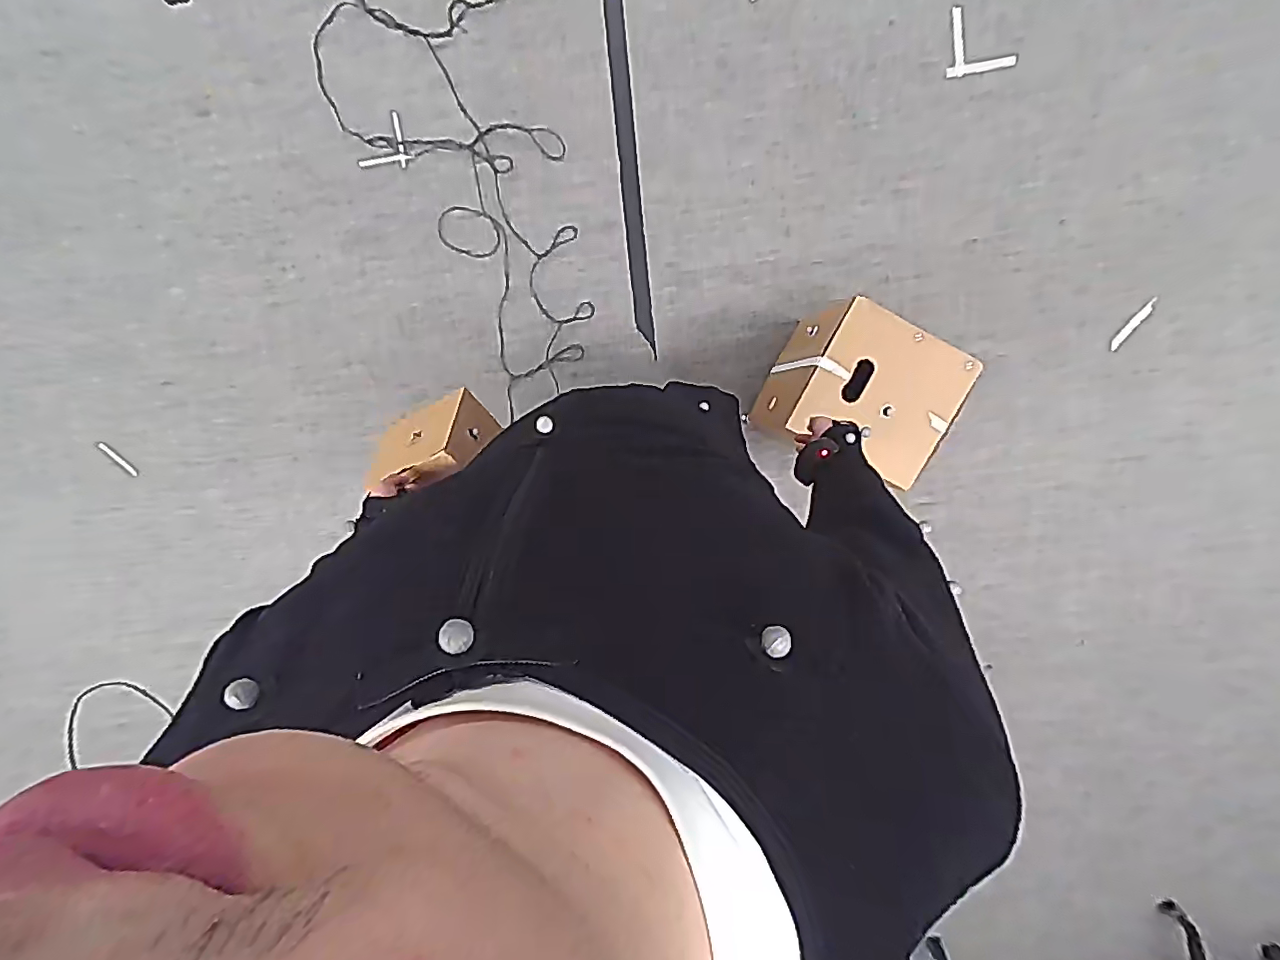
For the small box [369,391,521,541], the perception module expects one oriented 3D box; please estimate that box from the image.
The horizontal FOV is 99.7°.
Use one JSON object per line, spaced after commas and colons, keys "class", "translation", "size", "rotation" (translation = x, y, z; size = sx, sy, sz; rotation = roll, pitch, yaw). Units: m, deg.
{"class": "small box", "translation": [-0.326, -0.015, 0.943], "size": [0.168, 0.179, 0.176], "rotation": [-24, 129, 16]}
